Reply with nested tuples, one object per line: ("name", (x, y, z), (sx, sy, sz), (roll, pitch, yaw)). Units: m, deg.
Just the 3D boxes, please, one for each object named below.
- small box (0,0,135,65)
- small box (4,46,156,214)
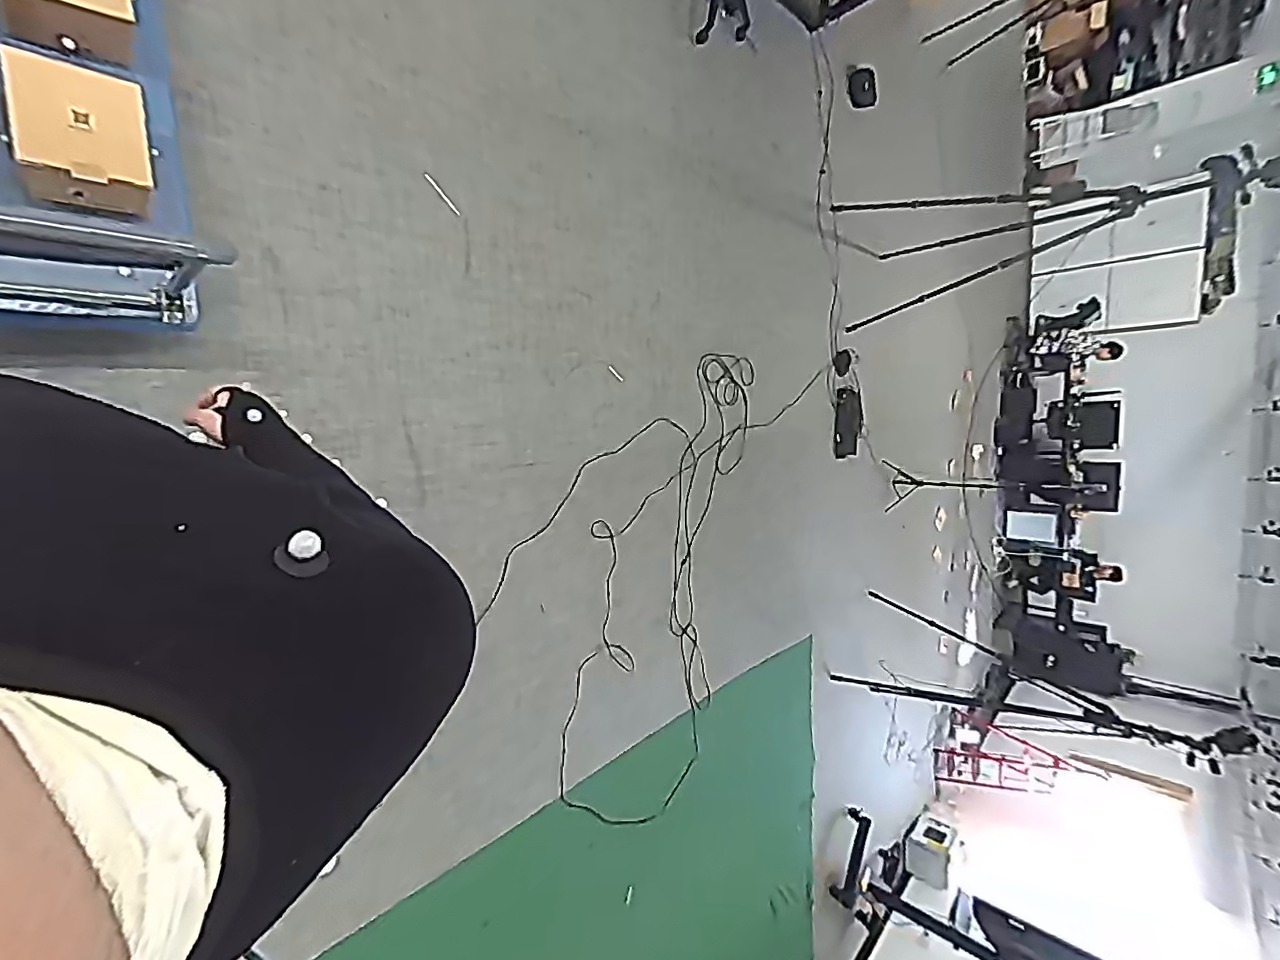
("small box", (-1.003, -0.871, 0.930), (0.168, 0.176, 0.179), (-15, 104, -43))
("small box", (-0.991, -0.604, 0.963), (0.168, 0.176, 0.179), (-9, 100, -44))
